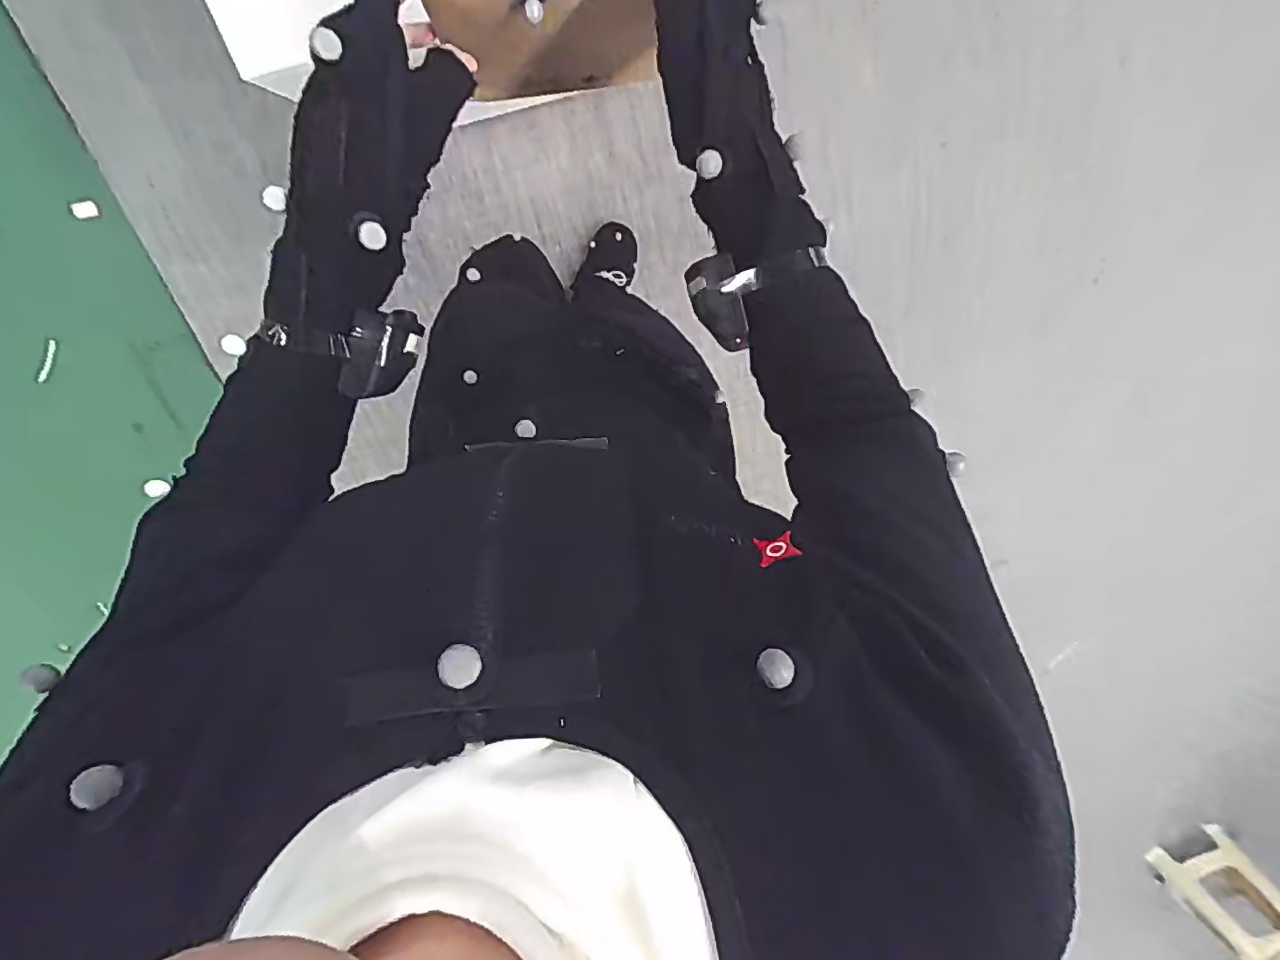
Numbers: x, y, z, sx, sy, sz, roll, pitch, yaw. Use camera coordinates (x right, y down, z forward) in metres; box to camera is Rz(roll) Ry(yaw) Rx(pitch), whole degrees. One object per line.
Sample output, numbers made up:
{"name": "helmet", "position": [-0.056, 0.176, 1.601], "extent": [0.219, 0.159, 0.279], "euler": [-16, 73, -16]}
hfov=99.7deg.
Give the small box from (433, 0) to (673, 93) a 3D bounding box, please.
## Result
{"name": "small box", "position": [-0.071, -0.404, 0.366], "extent": [0.168, 0.176, 0.179], "euler": [-10, 105, -4]}
